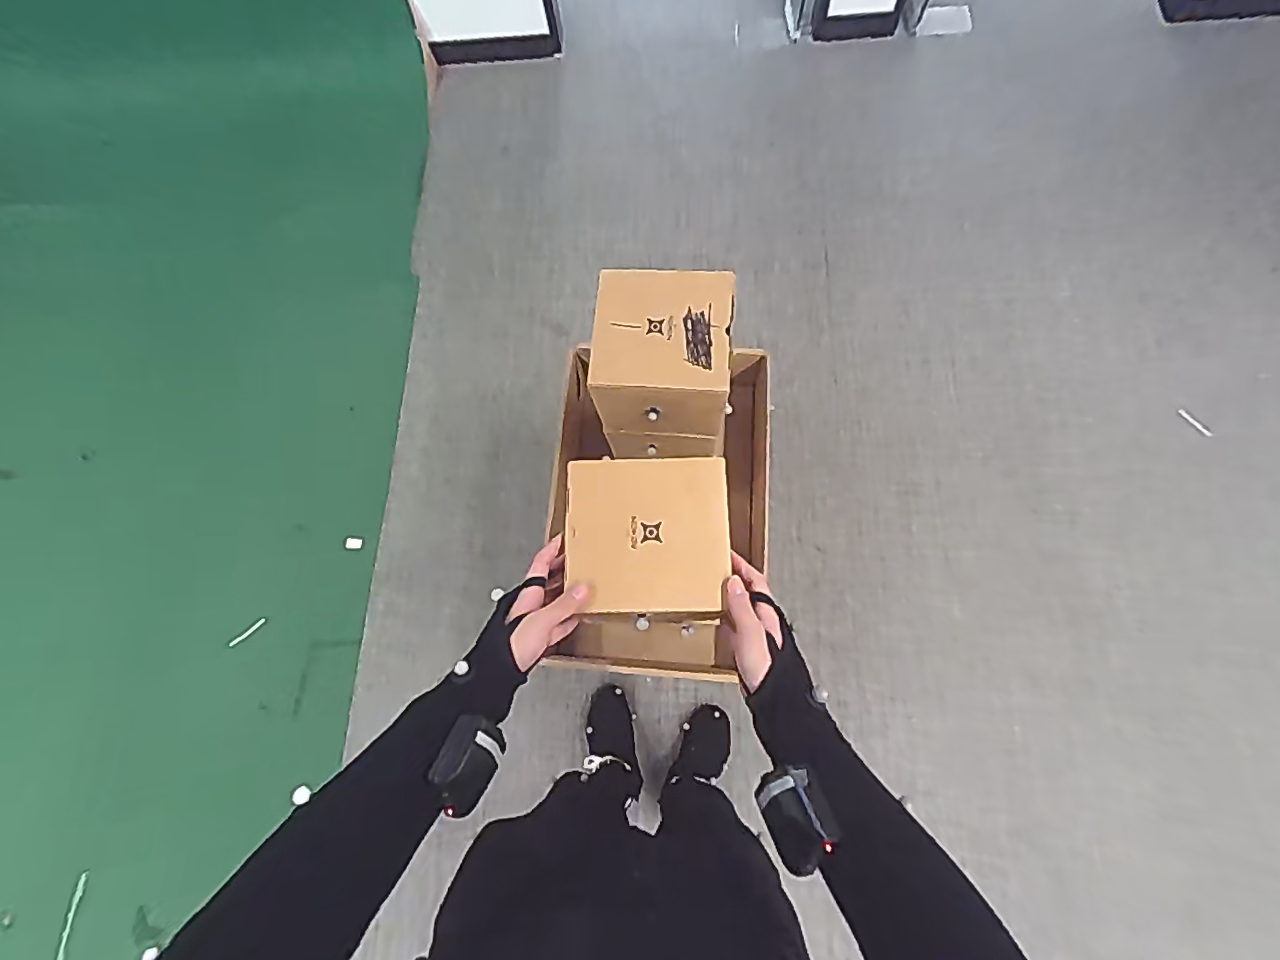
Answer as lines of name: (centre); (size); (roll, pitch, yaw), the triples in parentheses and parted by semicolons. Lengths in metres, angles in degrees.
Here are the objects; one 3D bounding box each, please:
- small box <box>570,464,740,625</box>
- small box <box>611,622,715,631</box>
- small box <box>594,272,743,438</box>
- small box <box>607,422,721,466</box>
small box: (0.018, 0.085, 0.647); (0.179, 0.176, 0.168); (-1, 73, 2)
small box: (0.044, 0.187, 0.991); (0.179, 0.176, 0.168); (3, 74, 4)
small box: (0.042, -0.164, 0.752); (0.179, 0.176, 0.168); (4, 76, 5)
small box: (0.050, -0.121, 0.911); (0.179, 0.176, 0.168); (5, 76, 5)
